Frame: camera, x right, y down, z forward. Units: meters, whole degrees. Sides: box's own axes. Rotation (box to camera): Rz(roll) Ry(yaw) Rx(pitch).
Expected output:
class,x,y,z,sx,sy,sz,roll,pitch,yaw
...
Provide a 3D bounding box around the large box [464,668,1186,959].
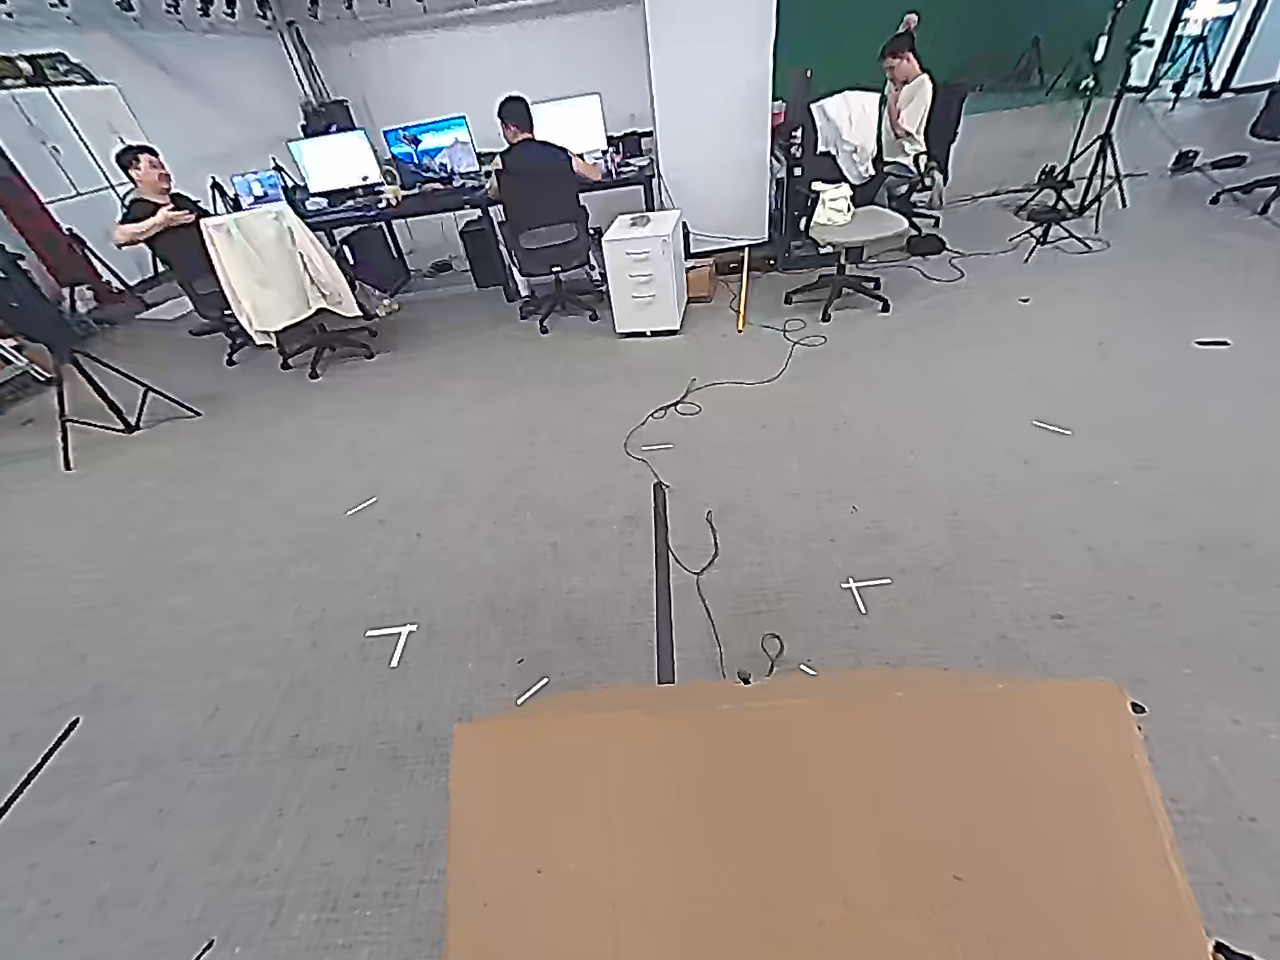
class,x,y,z,sx,sy,sz,roll,pitch,yaw
large box,0.113,0.339,0.439,0.408,0.320,0.320,-7,71,5
